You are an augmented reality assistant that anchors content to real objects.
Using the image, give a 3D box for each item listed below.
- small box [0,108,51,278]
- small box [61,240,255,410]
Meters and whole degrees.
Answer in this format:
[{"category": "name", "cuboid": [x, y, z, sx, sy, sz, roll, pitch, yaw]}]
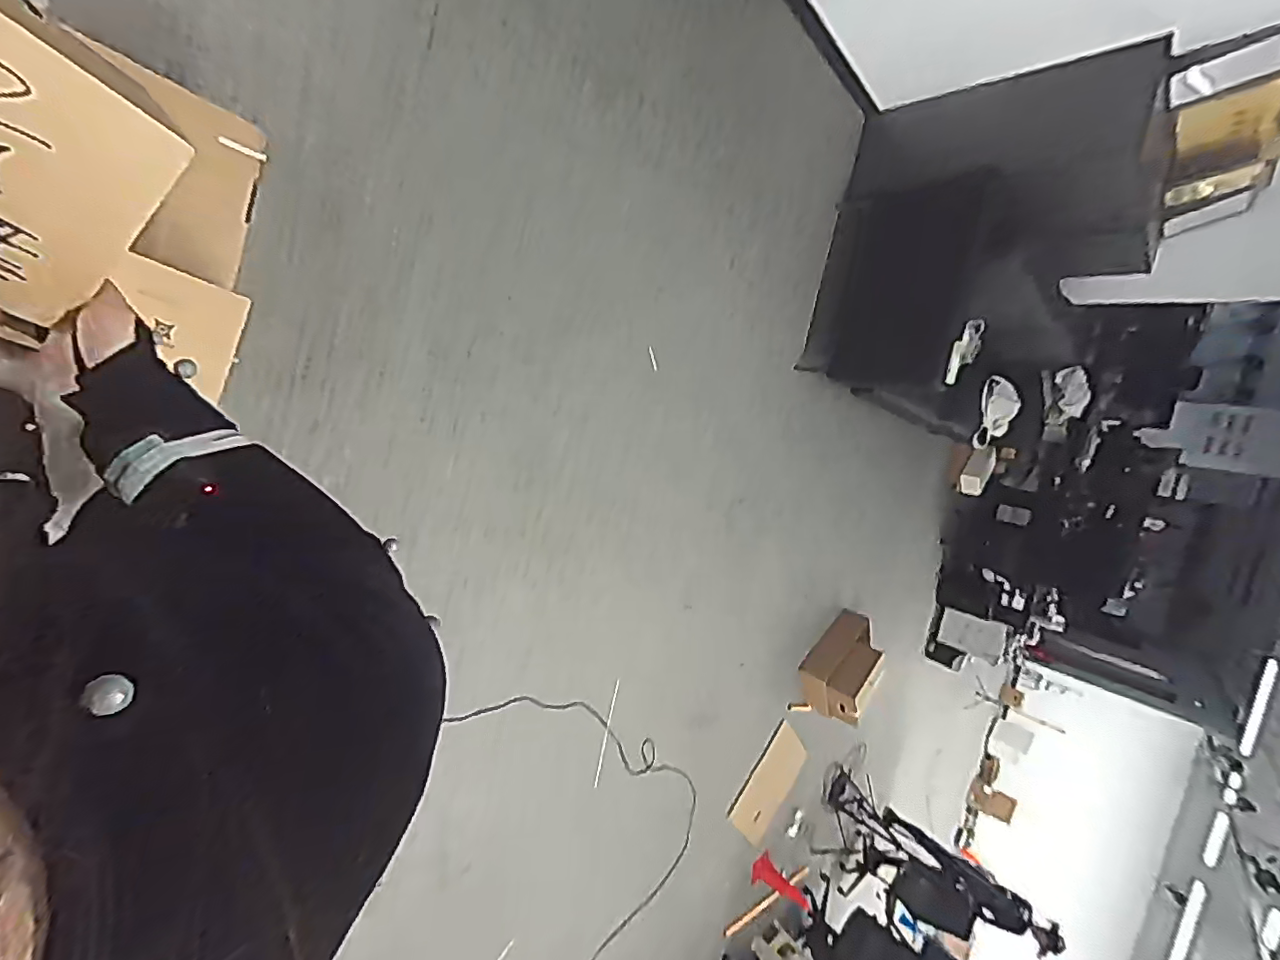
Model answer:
[{"category": "small box", "cuboid": [-0.823, -0.356, 0.623, 0.168, 0.176, 0.179, 18, 87, -45]}, {"category": "small box", "cuboid": [-0.697, -0.217, 0.787, 0.168, 0.176, 0.179, 19, 87, -47]}]
